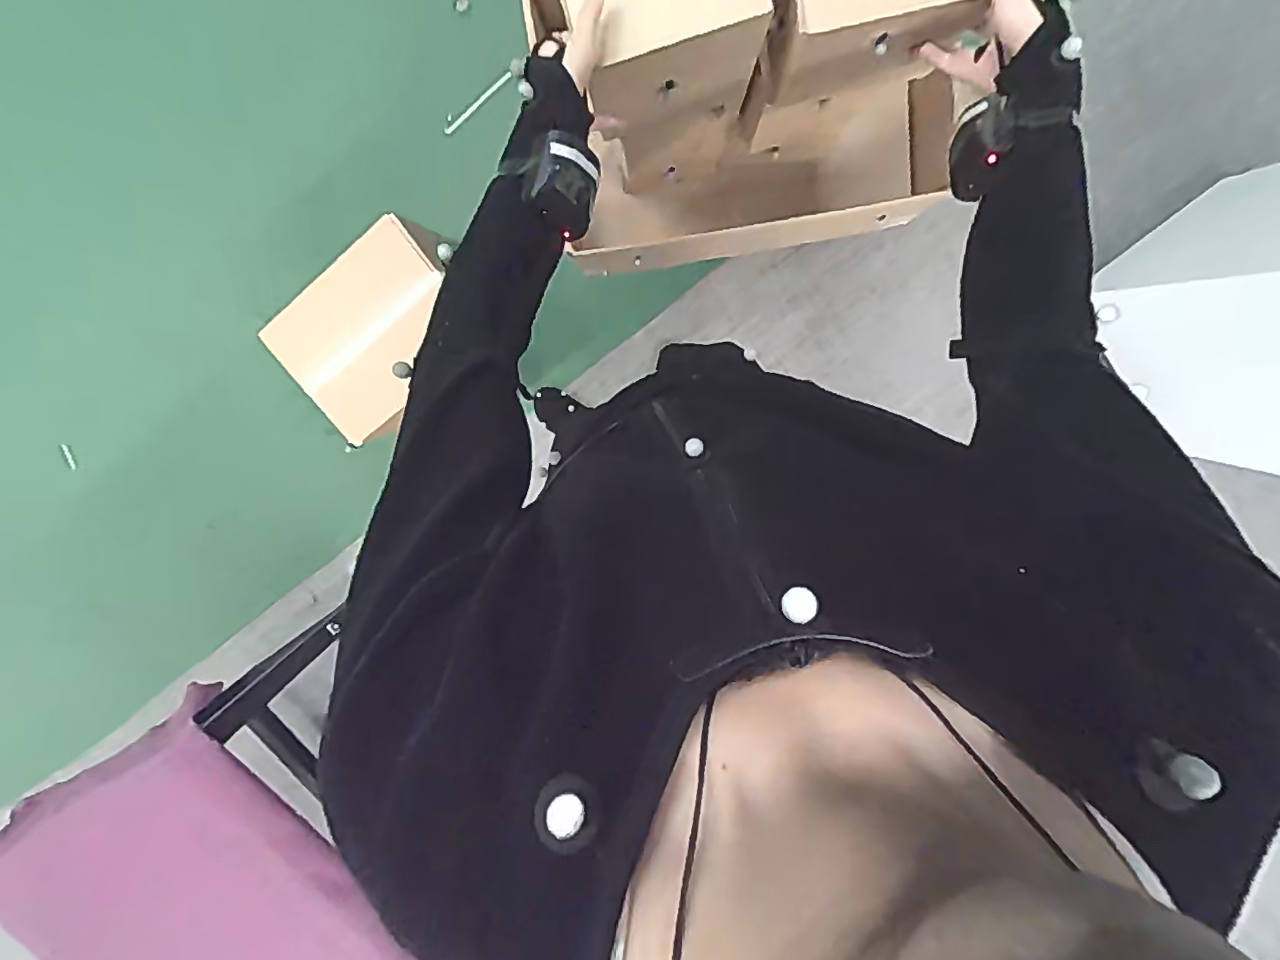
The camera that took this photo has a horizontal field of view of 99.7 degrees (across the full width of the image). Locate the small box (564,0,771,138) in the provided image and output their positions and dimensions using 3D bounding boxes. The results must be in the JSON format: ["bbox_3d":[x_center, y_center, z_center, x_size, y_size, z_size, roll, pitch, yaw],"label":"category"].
[{"bbox_3d":[0.015,-0.481,0.541,0.179,0.176,0.168,-14,102,6],"label":"small box"}]

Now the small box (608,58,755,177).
[{"bbox_3d":[0.025,-0.531,0.698,0.179,0.176,0.168,-24,101,7],"label":"small box"}]
